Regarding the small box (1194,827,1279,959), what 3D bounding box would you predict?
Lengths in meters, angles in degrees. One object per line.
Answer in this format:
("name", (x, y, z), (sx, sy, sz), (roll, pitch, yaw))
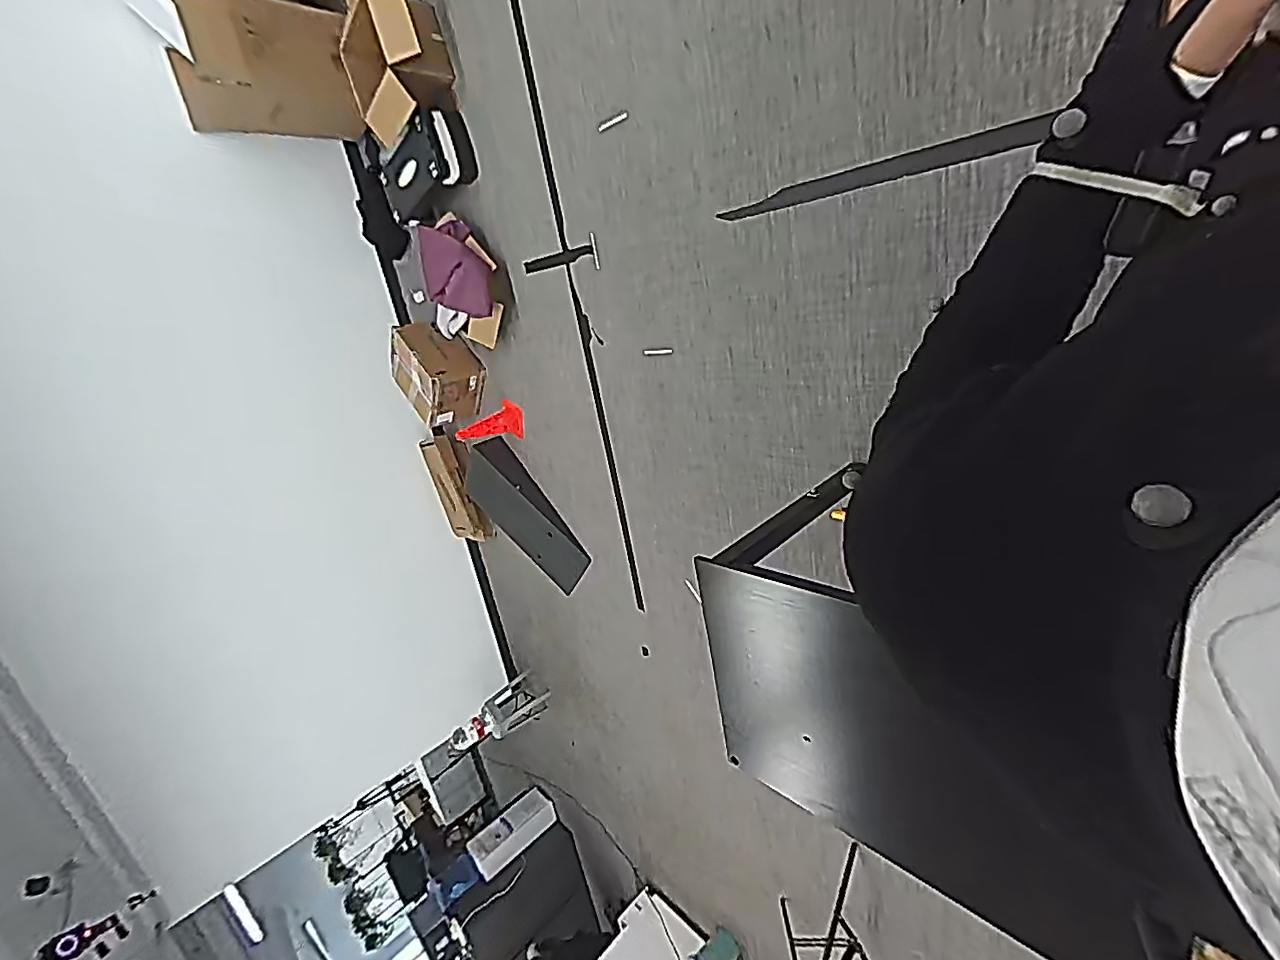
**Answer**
("small box", (0.723, 0.522, 0.571), (0.179, 0.176, 0.168), (12, 119, 47))
